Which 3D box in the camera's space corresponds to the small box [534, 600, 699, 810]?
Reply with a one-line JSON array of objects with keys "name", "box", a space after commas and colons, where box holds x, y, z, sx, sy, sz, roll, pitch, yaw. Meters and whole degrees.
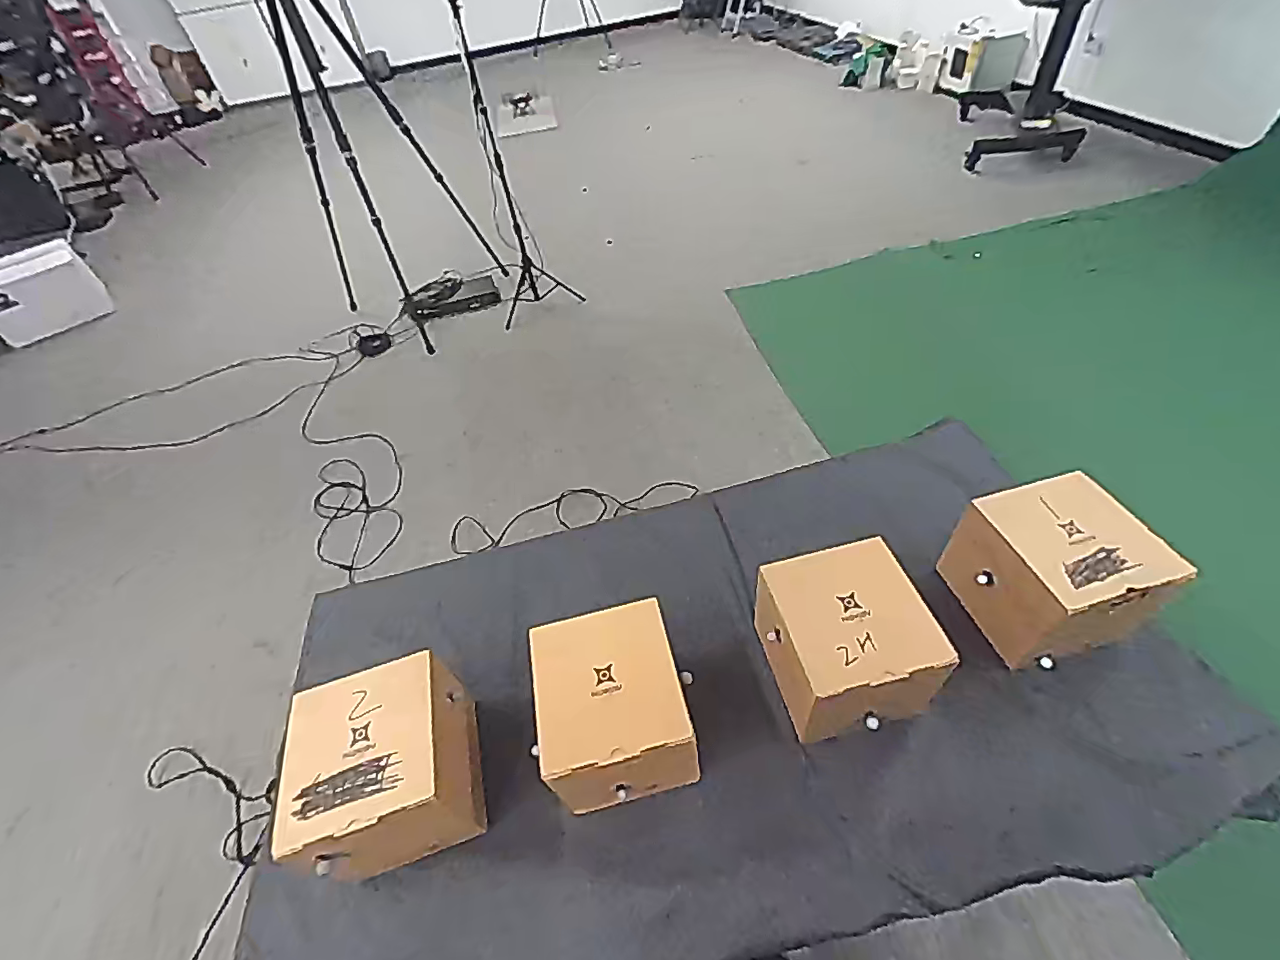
[{"name": "small box", "box": [-0.029, 0.282, 0.677, 0.168, 0.176, 0.179, -13, 49, -4]}]

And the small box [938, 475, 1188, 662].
[{"name": "small box", "box": [0.546, 0.126, 0.731, 0.168, 0.176, 0.179, -14, 47, -4]}]

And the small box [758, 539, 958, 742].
[{"name": "small box", "box": [0.260, 0.208, 0.699, 0.168, 0.176, 0.179, -13, 48, -3]}]
